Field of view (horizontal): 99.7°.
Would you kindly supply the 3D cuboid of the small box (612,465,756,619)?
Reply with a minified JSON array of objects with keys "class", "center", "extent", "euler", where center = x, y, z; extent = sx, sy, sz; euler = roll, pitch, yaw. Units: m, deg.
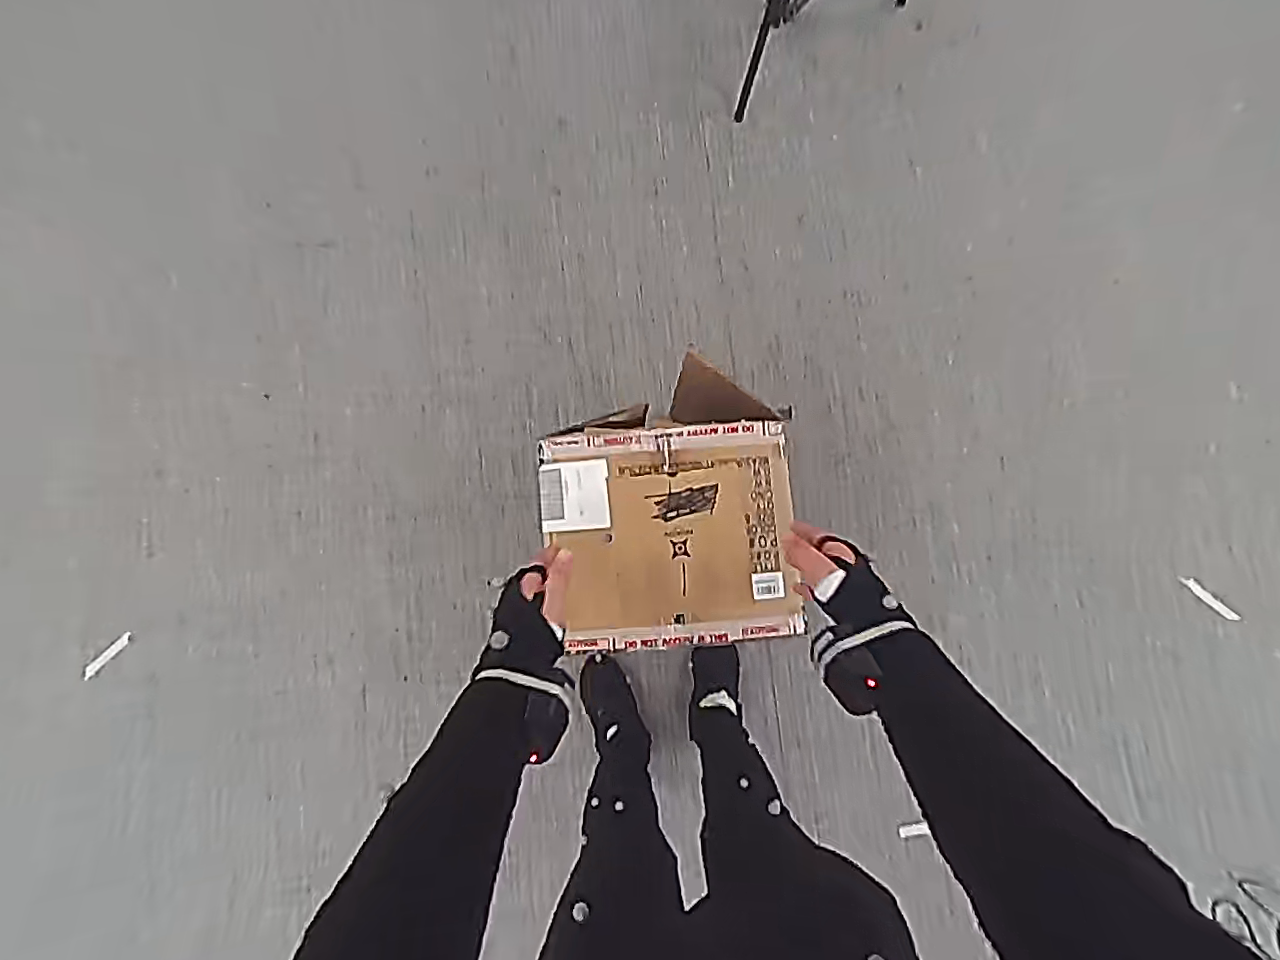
[{"class":"small box","center":[0.051,0.080,0.736],"extent":[0.168,0.176,0.179],"euler":[-6,87,-1]}]
